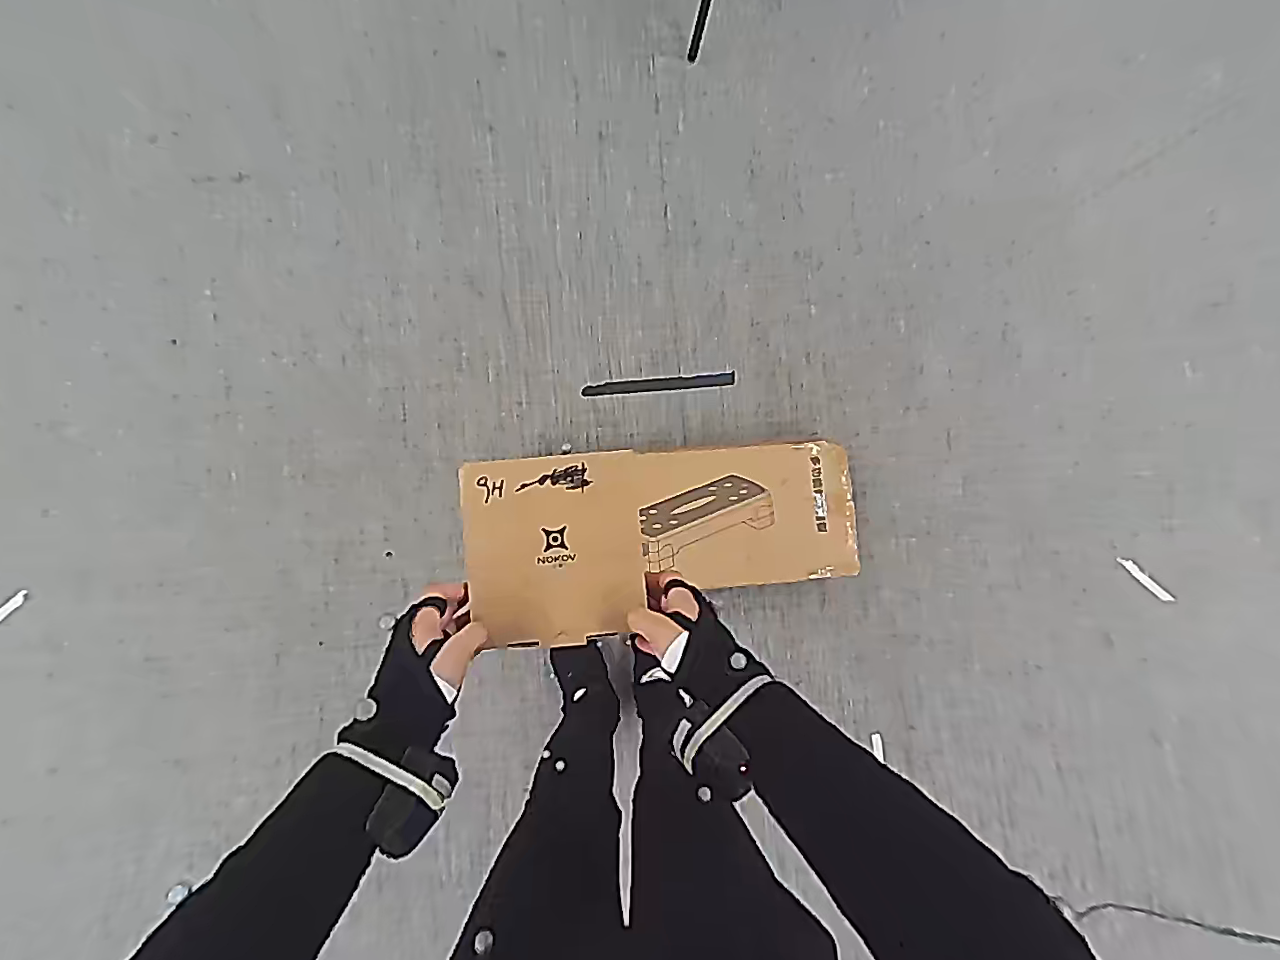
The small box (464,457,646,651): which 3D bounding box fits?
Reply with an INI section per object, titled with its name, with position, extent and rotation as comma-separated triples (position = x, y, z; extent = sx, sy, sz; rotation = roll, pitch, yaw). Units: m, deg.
[small box]
position = -0.086, 0.070, 0.594
extent = 0.168, 0.176, 0.179
rotation = -5, 89, -6
